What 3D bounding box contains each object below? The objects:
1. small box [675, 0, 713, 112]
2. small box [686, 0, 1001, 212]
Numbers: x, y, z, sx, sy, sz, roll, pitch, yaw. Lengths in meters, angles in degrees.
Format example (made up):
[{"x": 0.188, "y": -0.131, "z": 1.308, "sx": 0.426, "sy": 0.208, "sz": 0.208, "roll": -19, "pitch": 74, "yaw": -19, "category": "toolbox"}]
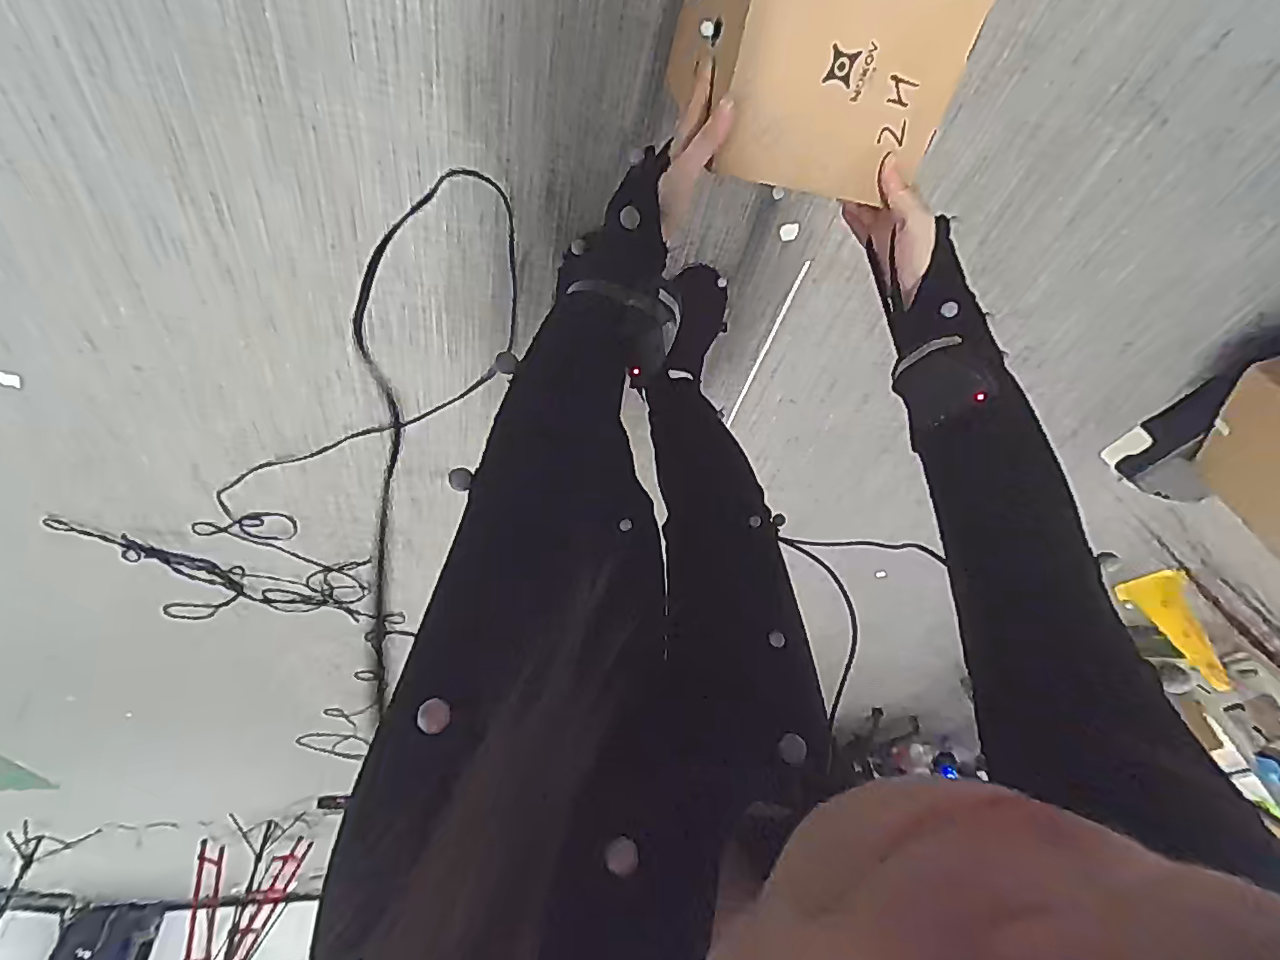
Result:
[{"x": 0.140, "y": -0.486, "z": 0.565, "sx": 0.168, "sy": 0.176, "sz": 0.179, "roll": 6, "pitch": 138, "yaw": -14, "category": "small box"}, {"x": 0.147, "y": -0.350, "z": 0.454, "sx": 0.179, "sy": 0.176, "sz": 0.168, "roll": 5, "pitch": 131, "yaw": -12, "category": "small box"}]
